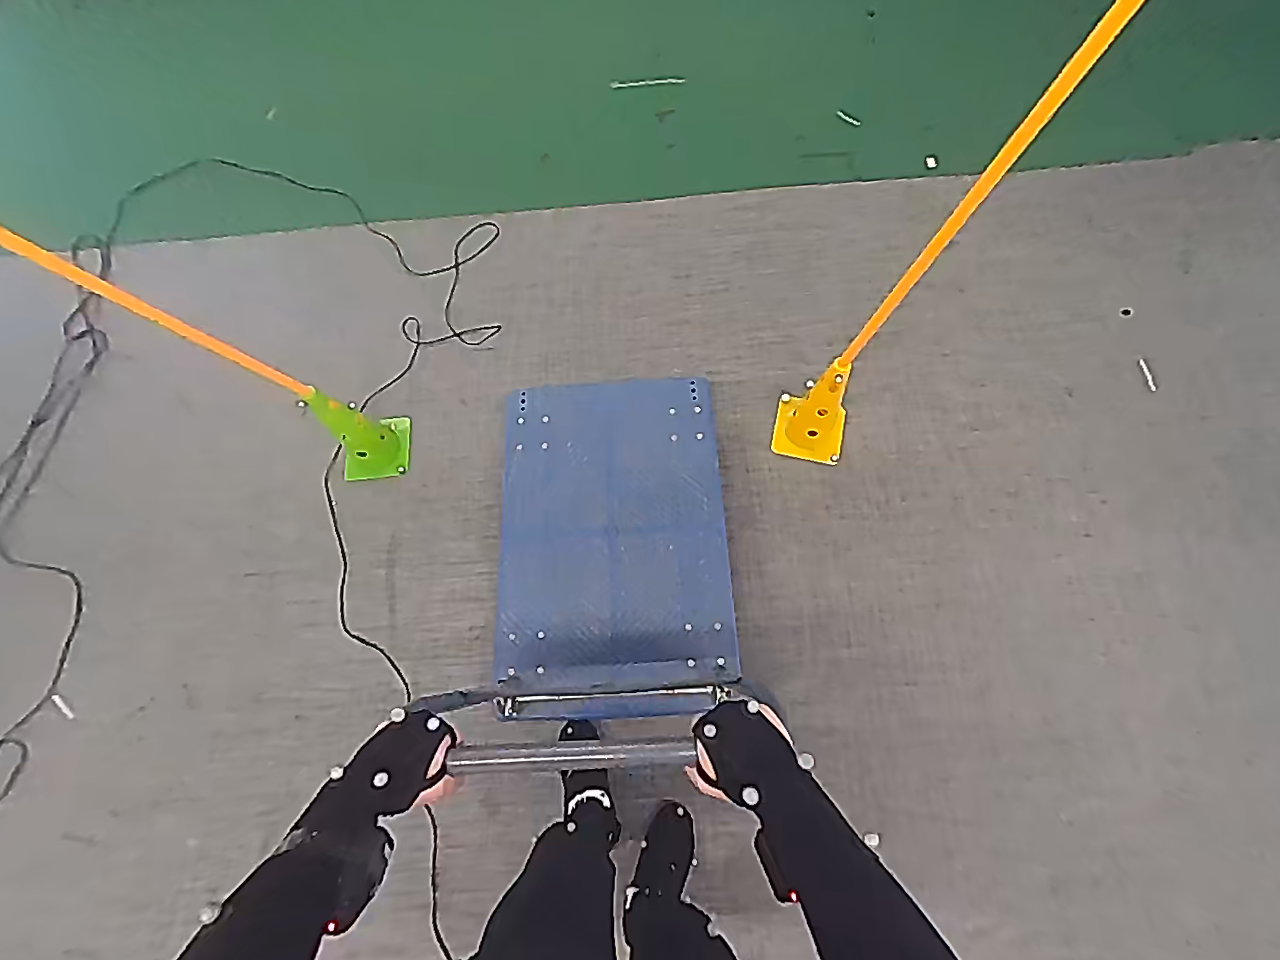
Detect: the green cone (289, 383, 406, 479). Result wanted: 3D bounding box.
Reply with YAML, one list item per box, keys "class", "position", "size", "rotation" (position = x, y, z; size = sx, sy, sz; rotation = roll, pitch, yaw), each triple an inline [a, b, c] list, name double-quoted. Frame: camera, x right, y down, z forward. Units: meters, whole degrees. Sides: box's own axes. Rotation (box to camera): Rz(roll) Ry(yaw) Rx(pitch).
- class: "green cone"
  position: [-0.839, -0.167, 1.517]
  size: [0.202, 0.368, 0.200]
  rotation: [-8, 68, 2]
